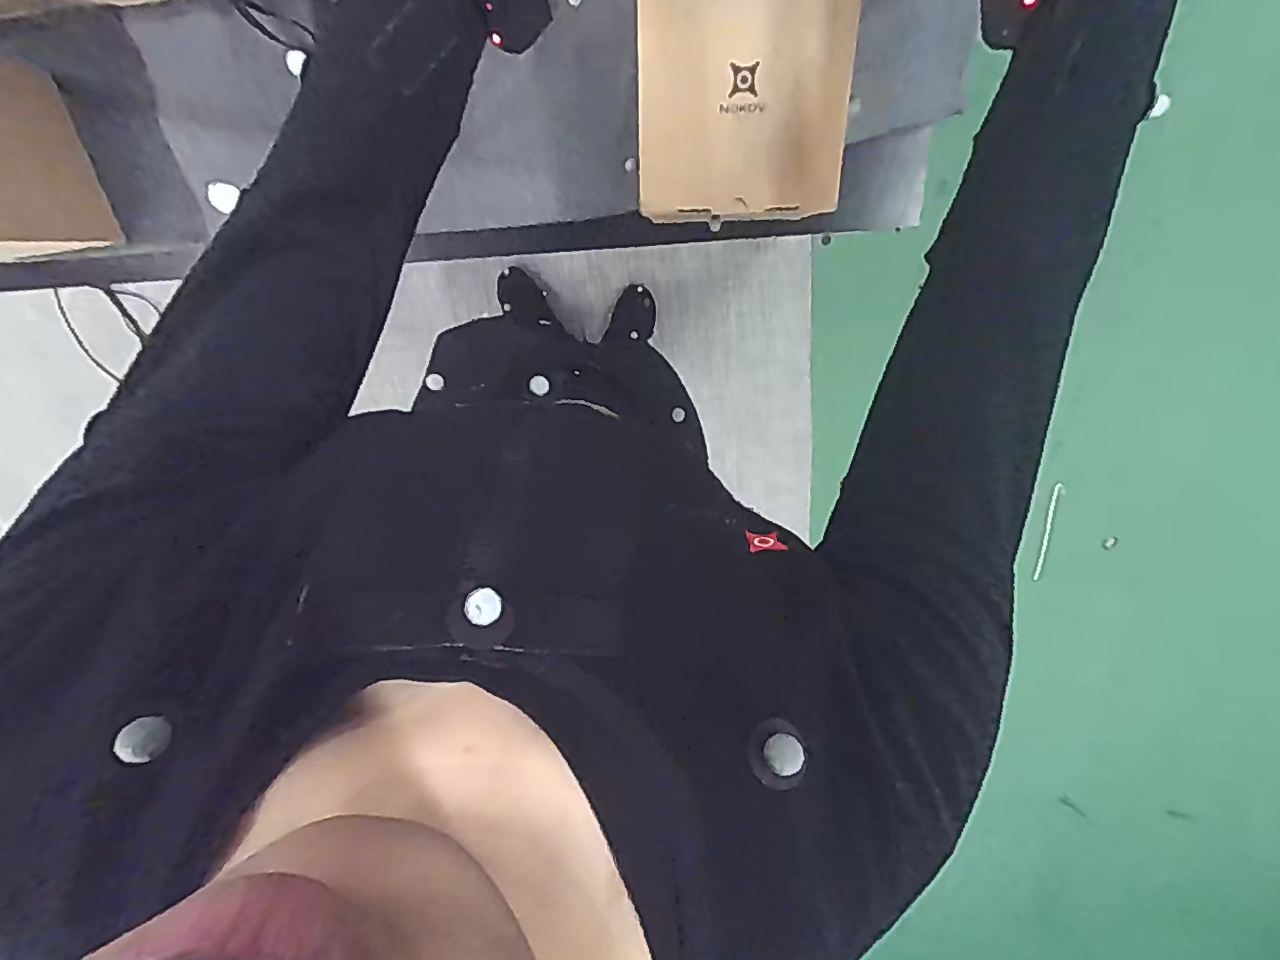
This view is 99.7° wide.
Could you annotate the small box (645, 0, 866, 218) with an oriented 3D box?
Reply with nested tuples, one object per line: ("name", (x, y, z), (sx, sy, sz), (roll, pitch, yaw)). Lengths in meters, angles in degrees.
("small box", (0.089, -0.339, 0.493), (0.168, 0.176, 0.179), (1, 115, 4))
